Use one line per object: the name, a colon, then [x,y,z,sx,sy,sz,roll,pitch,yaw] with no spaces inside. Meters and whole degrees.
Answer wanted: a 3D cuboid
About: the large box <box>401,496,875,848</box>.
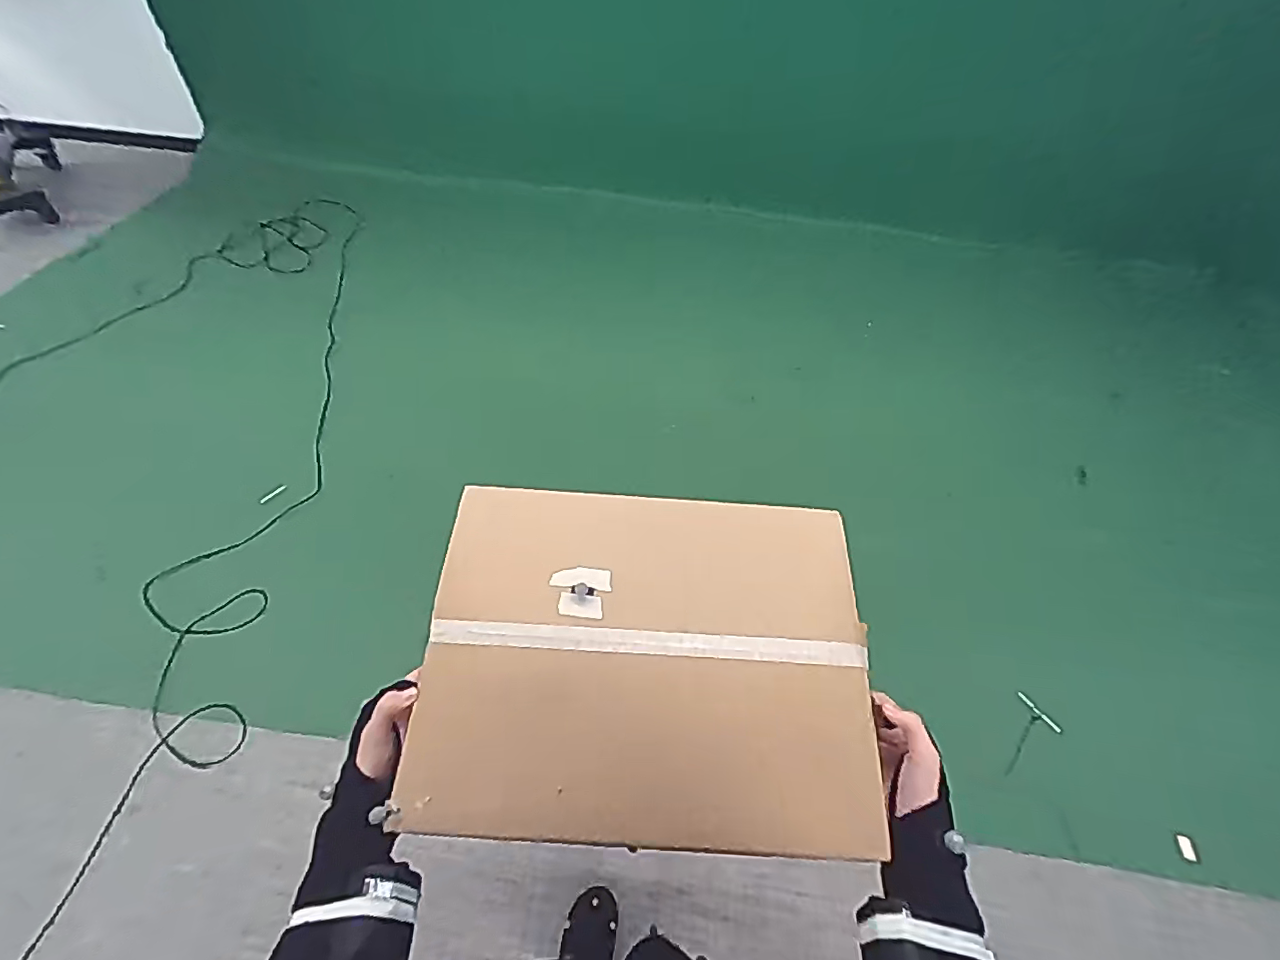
large box: [0.003,0.231,0.649,0.408,0.320,0.320,4,60,0]
